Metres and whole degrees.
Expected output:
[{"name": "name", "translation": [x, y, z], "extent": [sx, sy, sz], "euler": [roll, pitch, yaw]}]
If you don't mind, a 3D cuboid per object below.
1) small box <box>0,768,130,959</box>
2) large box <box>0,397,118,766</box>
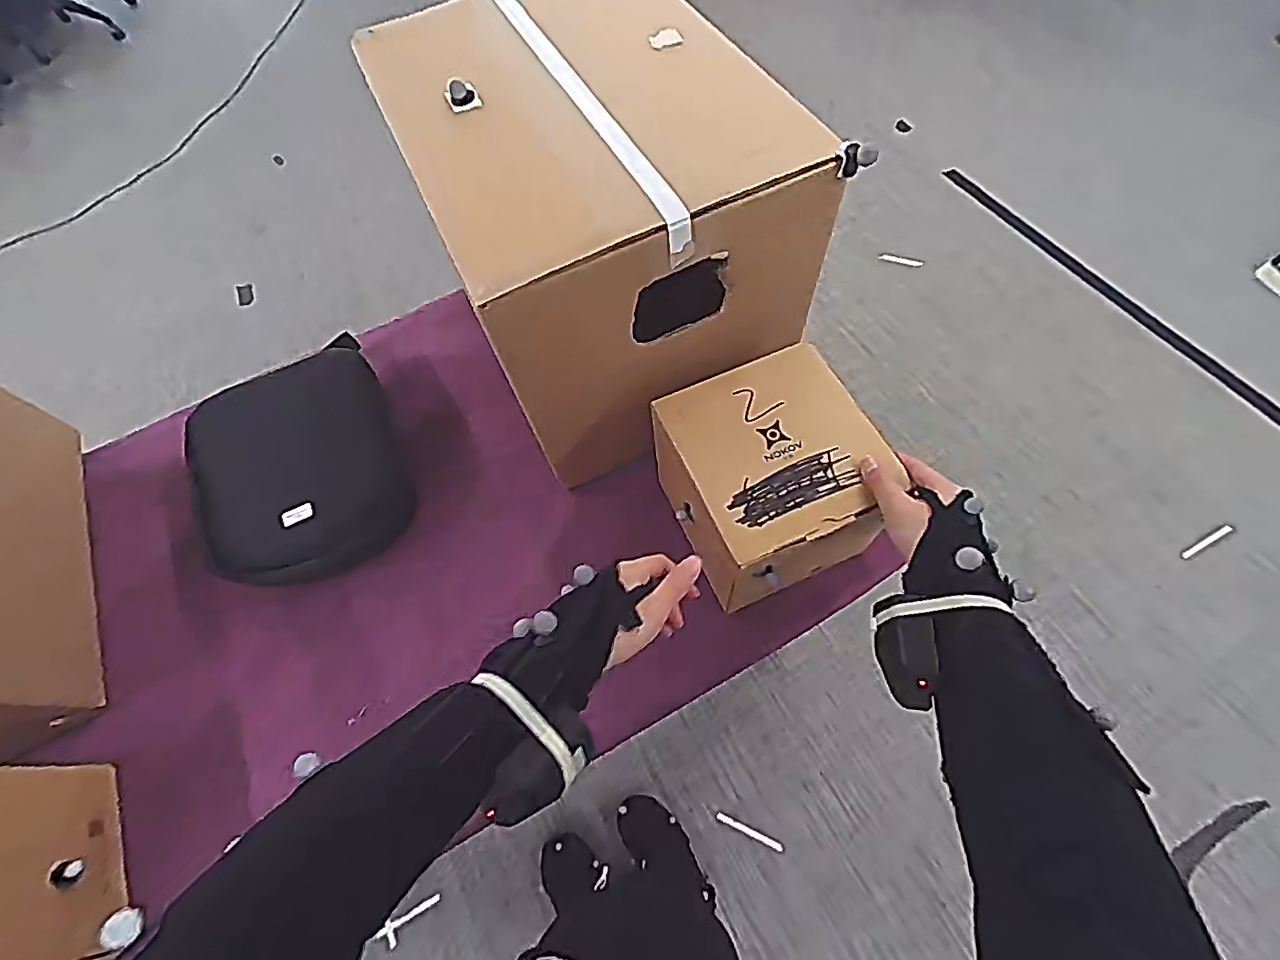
[{"name": "small box", "translation": [-0.573, 0.357, 0.430], "extent": [0.179, 0.176, 0.168], "euler": [-30, 64, -11]}, {"name": "large box", "translation": [-0.794, 0.096, 0.496], "extent": [0.320, 0.320, 0.408], "euler": [-28, 67, -11]}]
